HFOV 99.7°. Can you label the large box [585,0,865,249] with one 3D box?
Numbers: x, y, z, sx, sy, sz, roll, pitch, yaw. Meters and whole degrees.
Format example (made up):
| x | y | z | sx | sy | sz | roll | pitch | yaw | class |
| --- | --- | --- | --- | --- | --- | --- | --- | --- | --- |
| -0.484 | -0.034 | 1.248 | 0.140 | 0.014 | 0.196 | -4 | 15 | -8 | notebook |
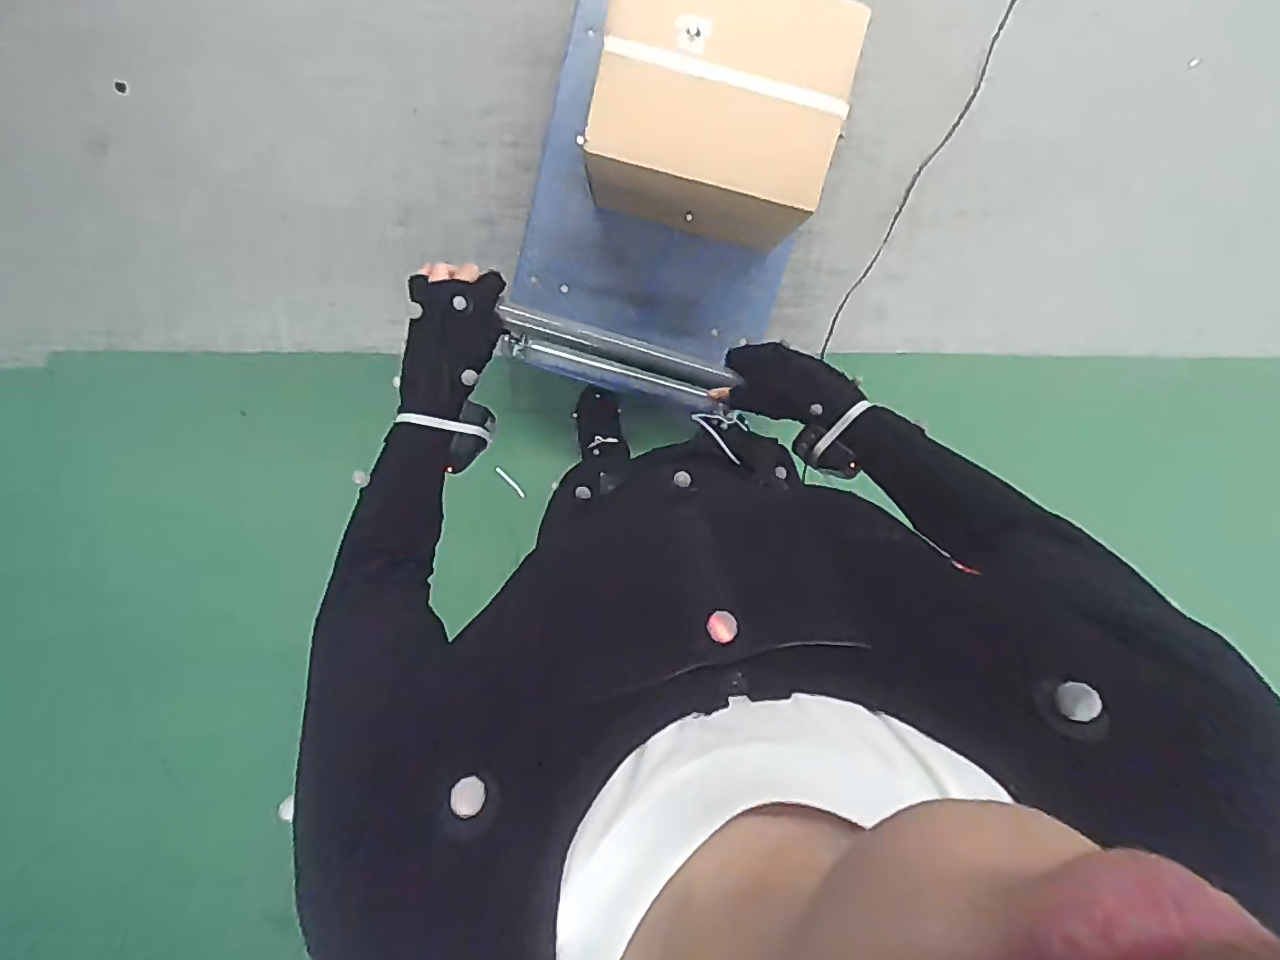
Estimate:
| x | y | z | sx | sy | sz | roll | pitch | yaw | class |
| --- | --- | --- | --- | --- | --- | --- | --- | --- | --- |
| 0.135 | -0.666 | 1.021 | 0.408 | 0.320 | 0.320 | 13 | 100 | -3 | large box |
